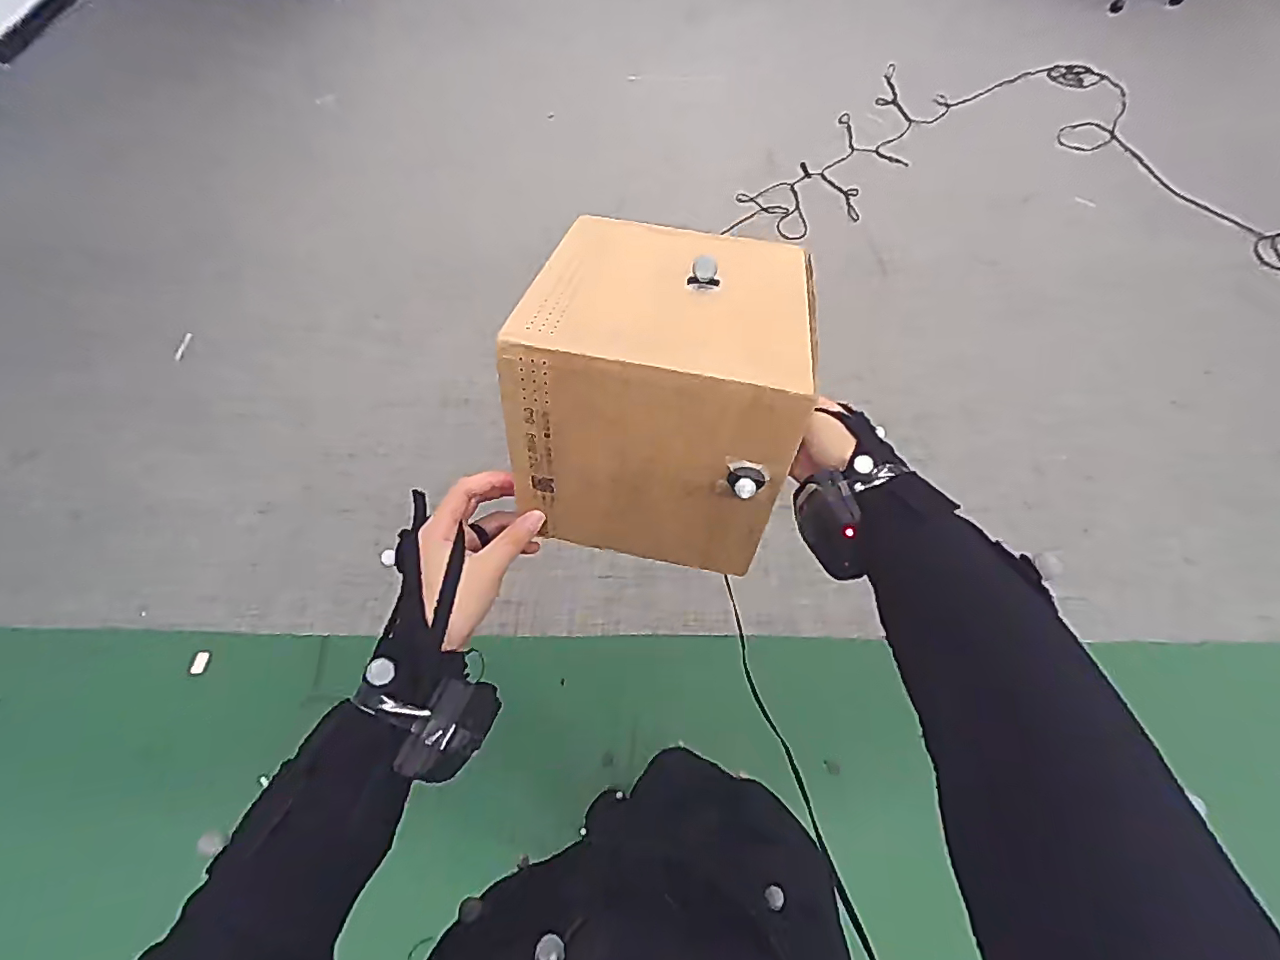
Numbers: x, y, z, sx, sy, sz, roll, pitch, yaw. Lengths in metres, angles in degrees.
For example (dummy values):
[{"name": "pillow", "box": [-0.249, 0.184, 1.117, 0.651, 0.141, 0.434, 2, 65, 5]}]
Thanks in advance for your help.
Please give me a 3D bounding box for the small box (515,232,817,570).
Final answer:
[{"name": "small box", "box": [0.016, -0.063, 0.399, 0.176, 0.168, 0.179, 10, 47, 4]}]
